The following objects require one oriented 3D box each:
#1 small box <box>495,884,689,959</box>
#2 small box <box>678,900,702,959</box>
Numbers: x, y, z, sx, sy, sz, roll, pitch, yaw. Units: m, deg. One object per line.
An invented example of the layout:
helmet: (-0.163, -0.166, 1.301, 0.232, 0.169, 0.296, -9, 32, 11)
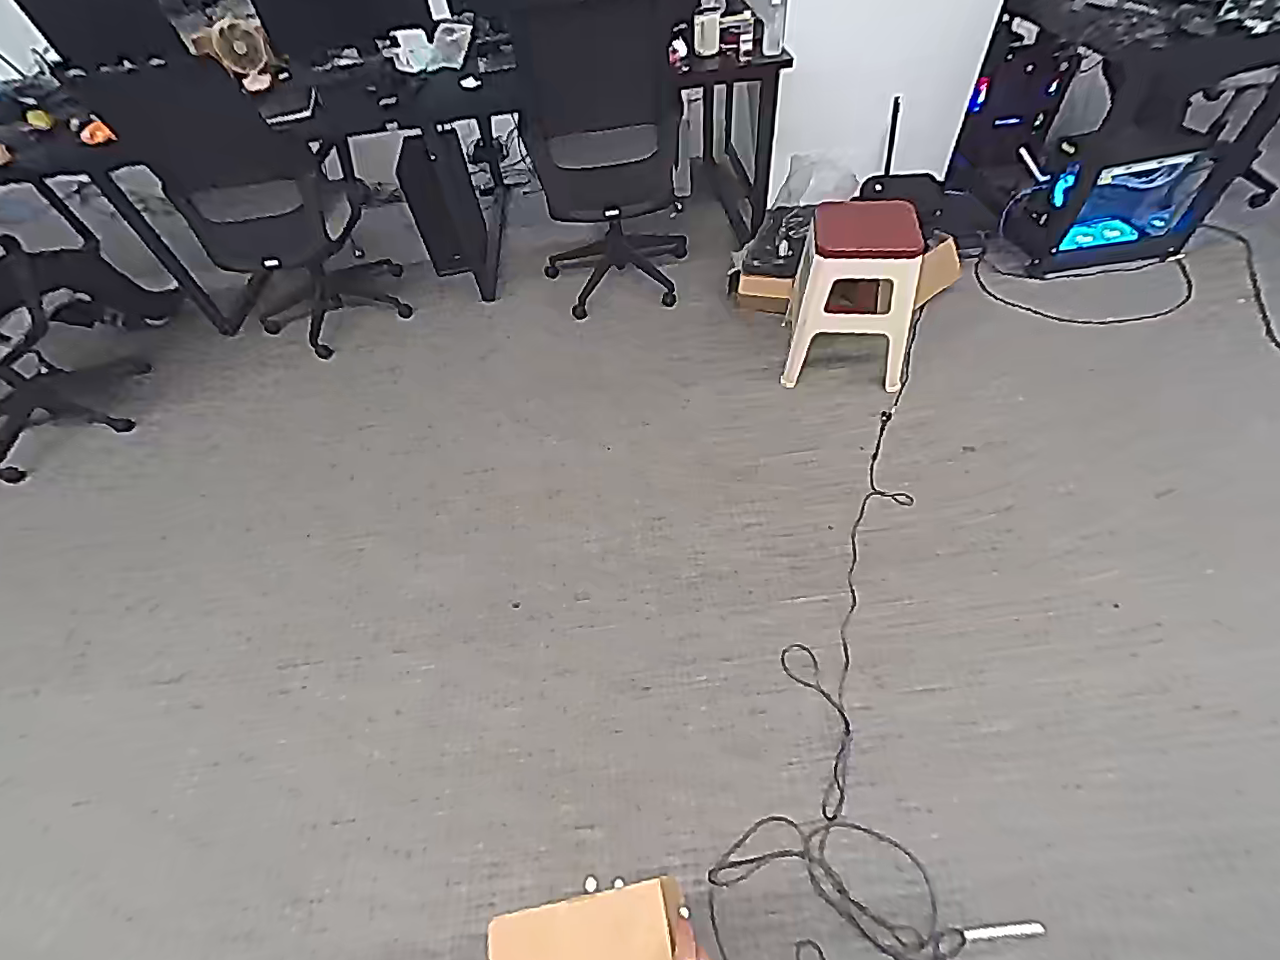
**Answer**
small box: (-0.035, 0.522, 0.541, 0.179, 0.176, 0.168, -12, 50, -1)
small box: (0.006, 0.732, 0.792, 0.179, 0.176, 0.168, -12, 51, -1)
